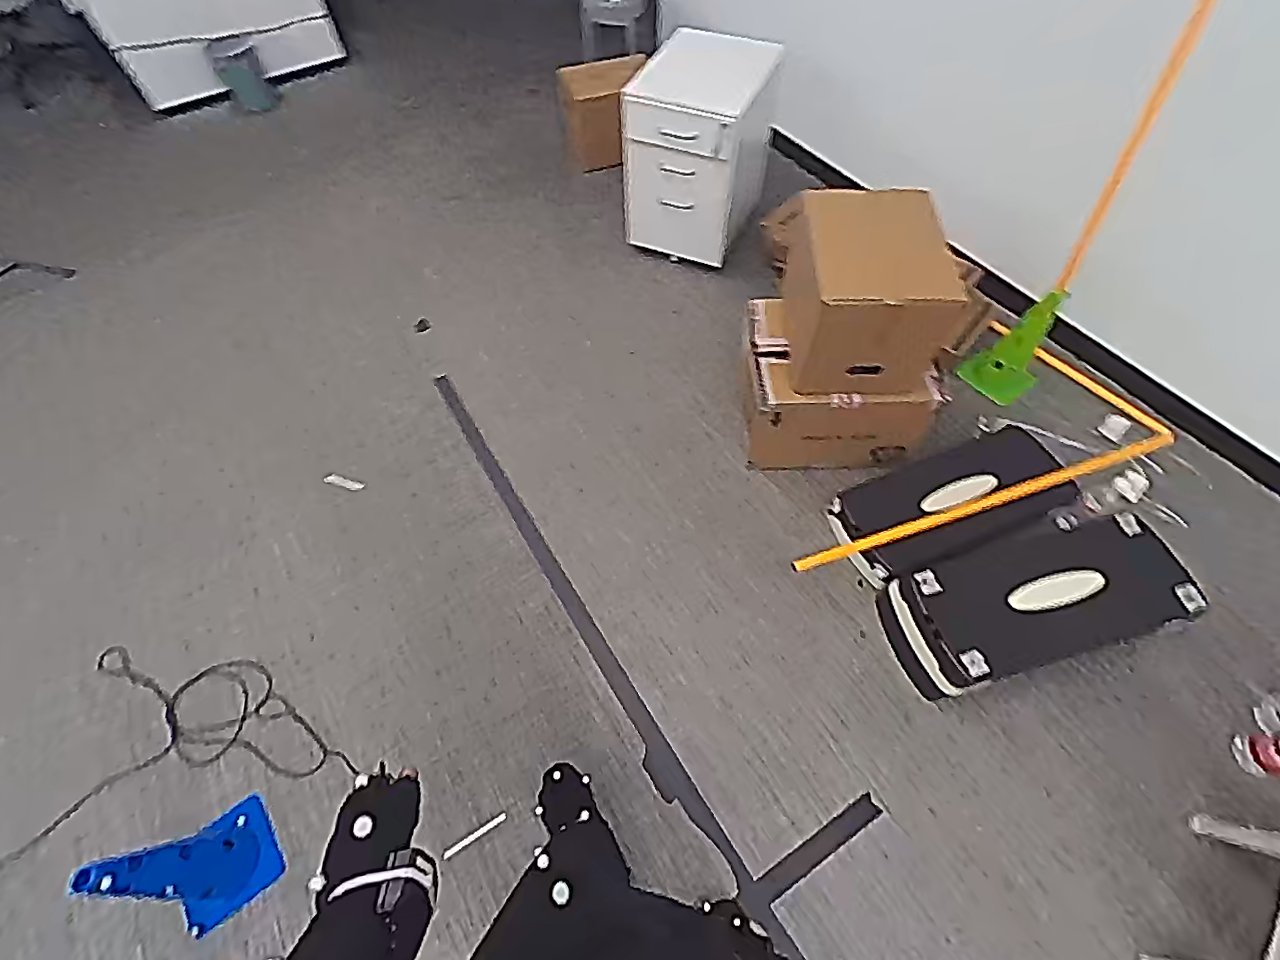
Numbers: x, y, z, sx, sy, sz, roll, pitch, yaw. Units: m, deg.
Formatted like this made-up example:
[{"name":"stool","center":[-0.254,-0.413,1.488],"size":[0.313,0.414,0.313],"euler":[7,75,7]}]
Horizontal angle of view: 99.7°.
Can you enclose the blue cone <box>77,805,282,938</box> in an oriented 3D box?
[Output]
[{"name":"blue cone","center":[-0.906,0.765,1.047],"size":[0.193,0.380,0.192],"euler":[-33,64,-17]}]
